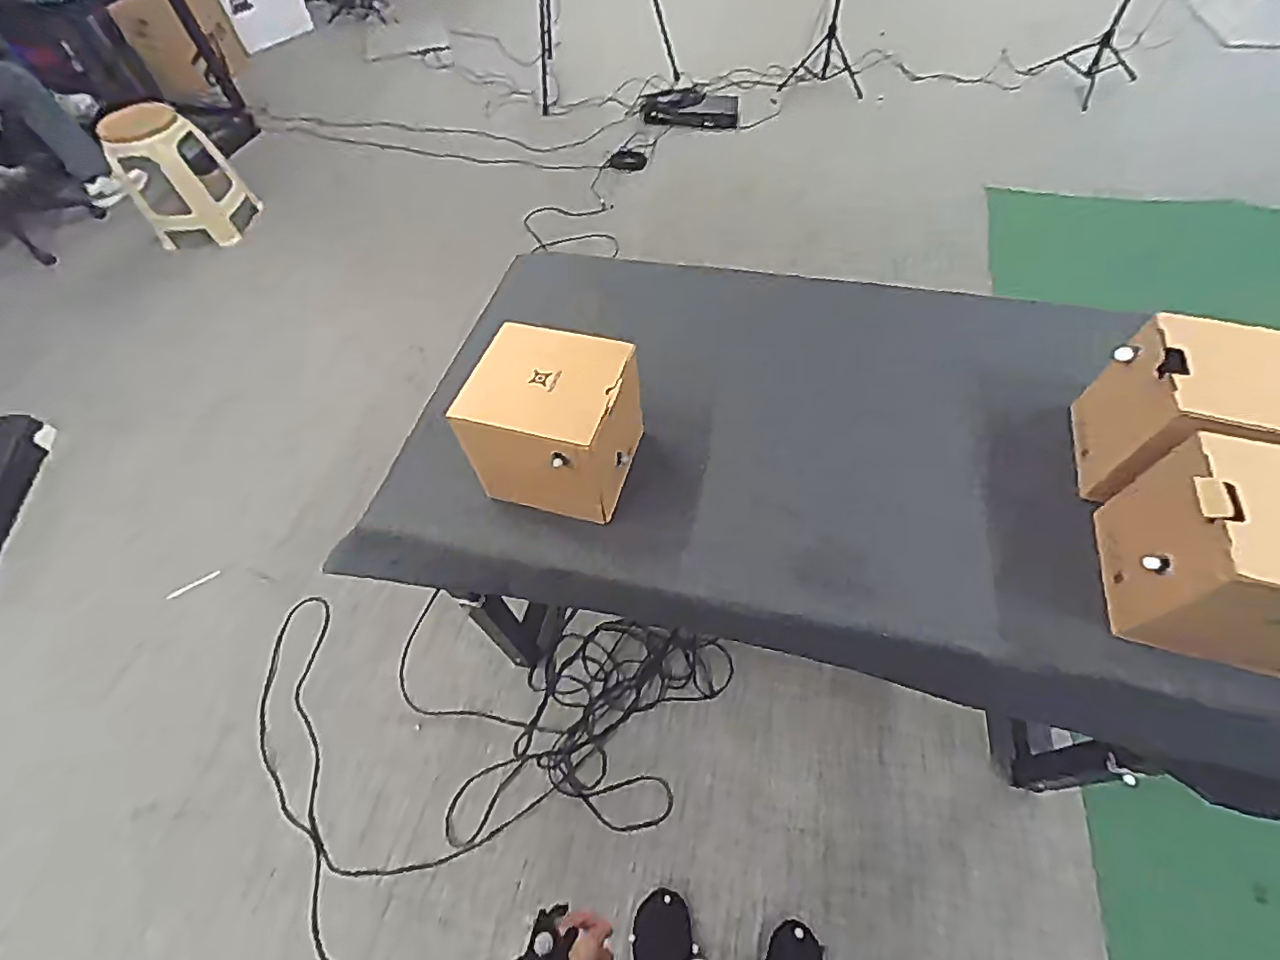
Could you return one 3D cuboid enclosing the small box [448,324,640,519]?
[{"bbox_3d":[-0.106,-0.070,0.691,0.179,0.176,0.168,13,57,11],"label":"small box"}]
